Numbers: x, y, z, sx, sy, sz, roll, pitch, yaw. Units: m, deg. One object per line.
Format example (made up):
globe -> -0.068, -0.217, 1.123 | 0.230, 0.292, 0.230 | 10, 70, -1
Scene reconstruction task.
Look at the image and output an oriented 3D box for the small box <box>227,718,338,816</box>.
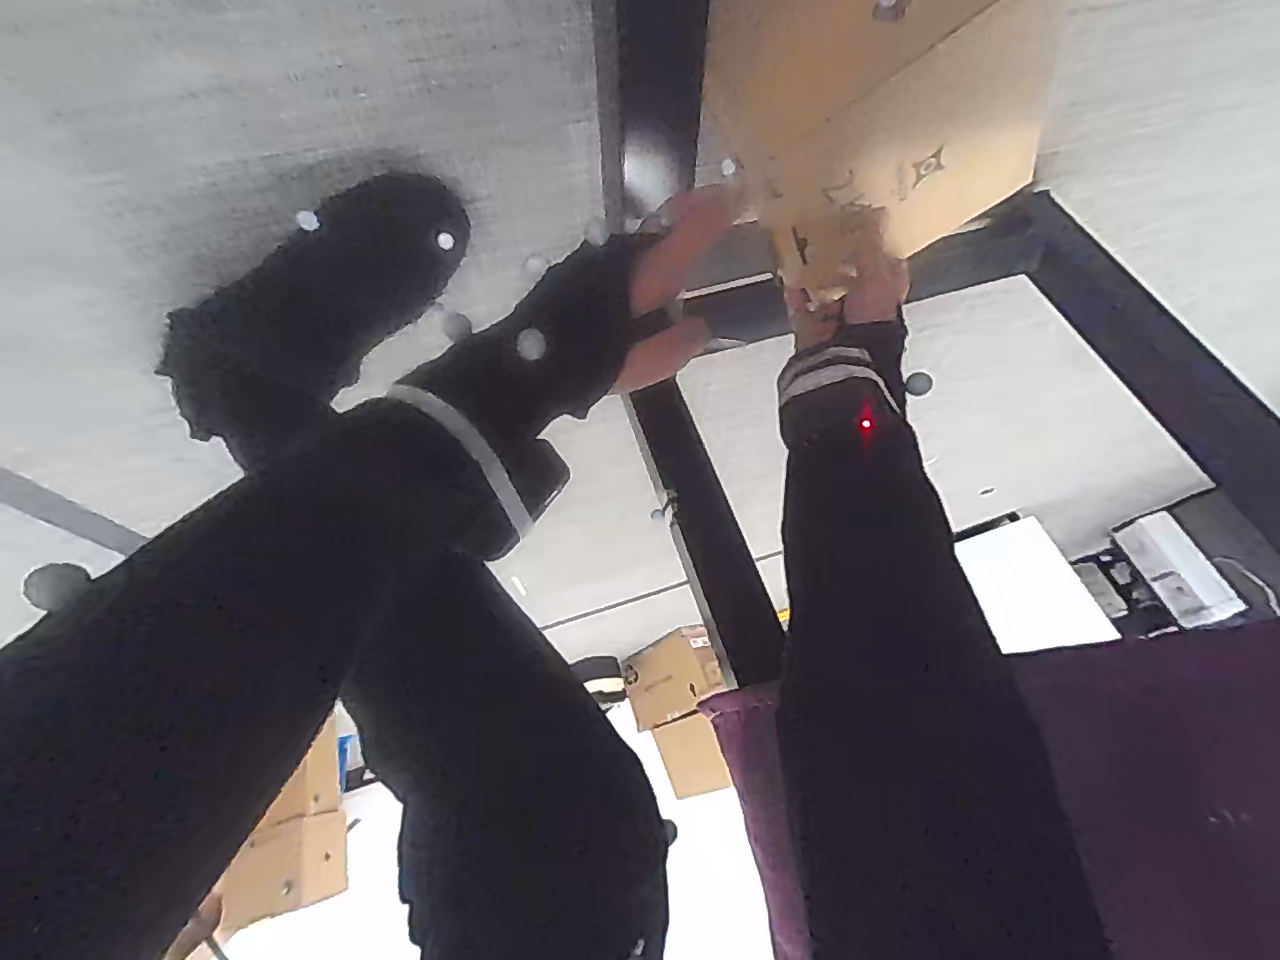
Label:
small box -> -0.845, 0.682, 1.296 | 0.168, 0.176, 0.179 | -13, 154, -10
